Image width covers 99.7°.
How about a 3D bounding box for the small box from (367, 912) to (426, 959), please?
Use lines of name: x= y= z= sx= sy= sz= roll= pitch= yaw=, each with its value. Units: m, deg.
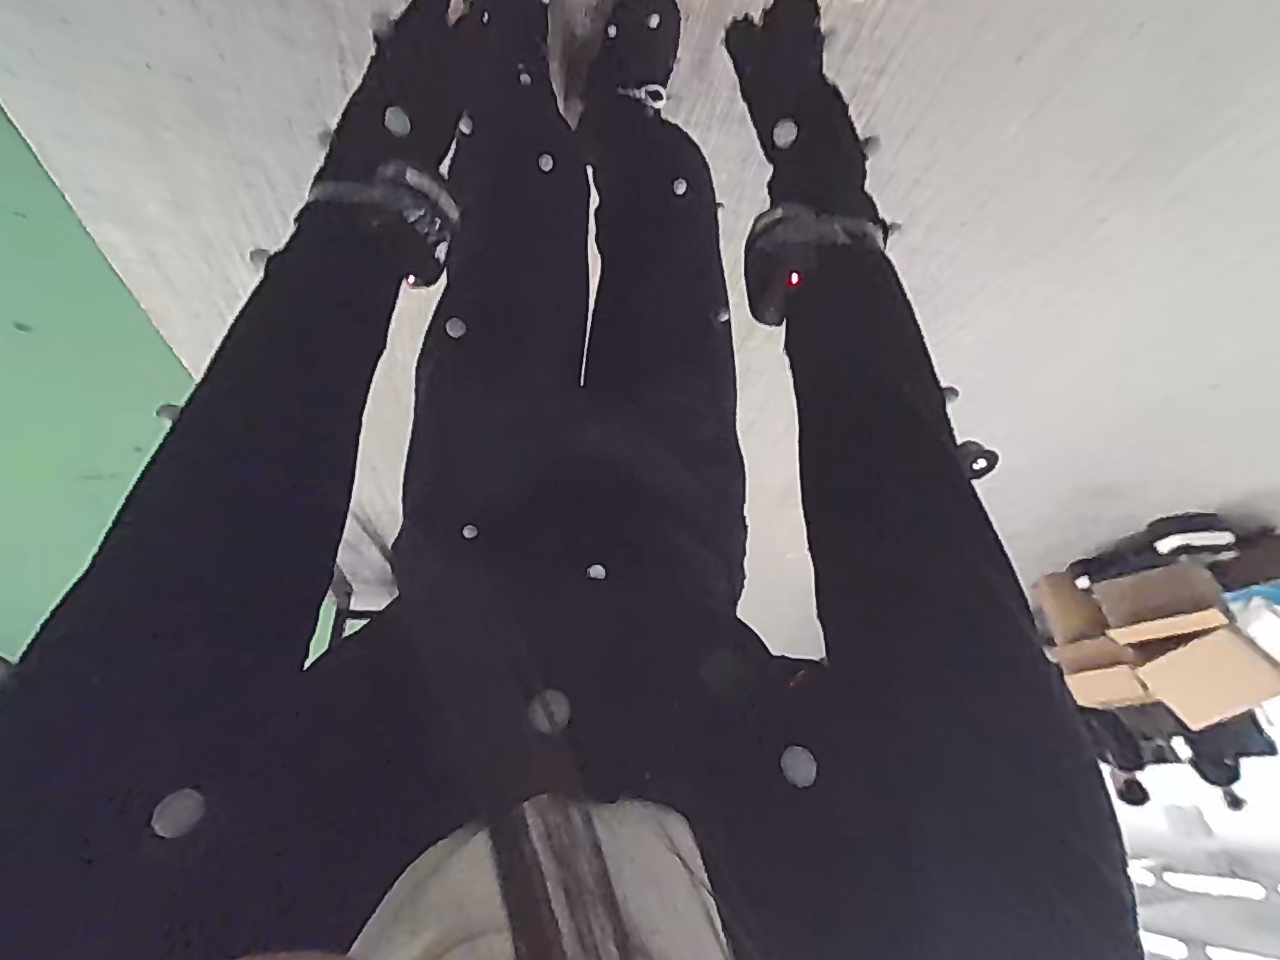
small box: x=-0.900 y=1.717 z=1.995 sx=0.168 sy=0.176 sz=0.179 roll=2 pitch=147 yaw=-8
